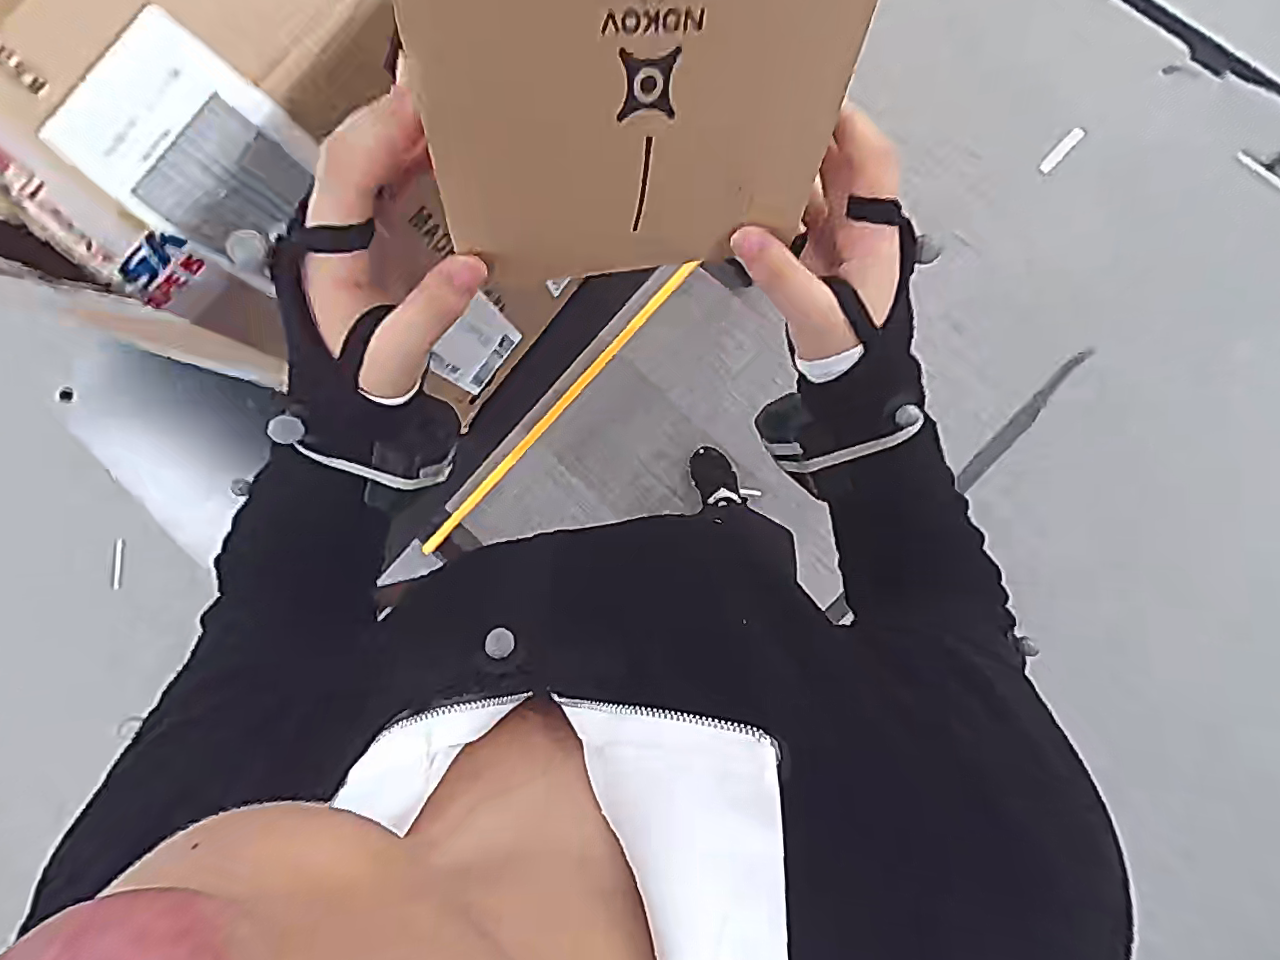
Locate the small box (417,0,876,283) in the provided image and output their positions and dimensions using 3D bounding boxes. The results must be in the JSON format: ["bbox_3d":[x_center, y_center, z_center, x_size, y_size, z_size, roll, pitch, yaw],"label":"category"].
[{"bbox_3d":[-0.014,-0.220,0.240,0.168,0.179,0.176,-10,58,-12],"label":"small box"}]
